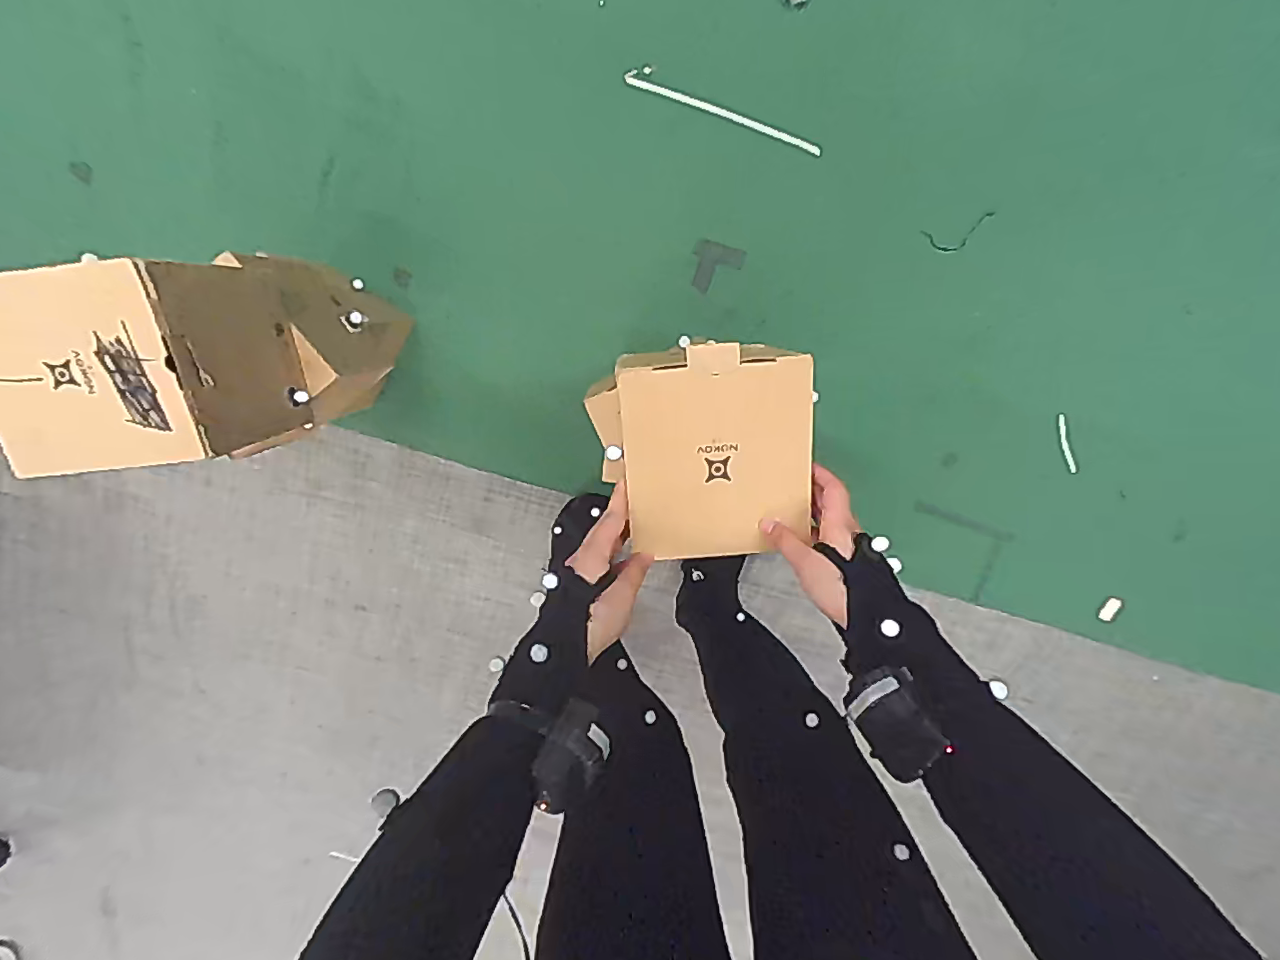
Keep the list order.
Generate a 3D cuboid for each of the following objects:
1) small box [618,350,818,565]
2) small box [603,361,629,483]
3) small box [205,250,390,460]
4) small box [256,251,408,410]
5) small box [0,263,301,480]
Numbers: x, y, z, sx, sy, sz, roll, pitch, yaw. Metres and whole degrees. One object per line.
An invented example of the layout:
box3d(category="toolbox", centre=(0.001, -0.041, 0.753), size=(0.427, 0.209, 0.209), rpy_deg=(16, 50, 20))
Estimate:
box3d(category="small box", centre=(0.068, -0.033, 0.542), size=(0.168, 0.176, 0.179), rpy_deg=(-4, 106, 1))
box3d(category="small box", centre=(0.034, -0.092, 0.869), size=(0.168, 0.176, 0.179), rpy_deg=(7, 106, -3))
box3d(category="small box", centre=(-0.455, -0.155, 0.673), size=(0.179, 0.176, 0.168), rpy_deg=(-35, 106, 9))
box3d(category="small box", centre=(-0.486, -0.217, 0.823), size=(0.168, 0.176, 0.179), rpy_deg=(32, 104, -11))
box3d(category="small box", centre=(-0.461, -0.109, 0.515), size=(0.179, 0.176, 0.168), rpy_deg=(-5, 108, 2))
